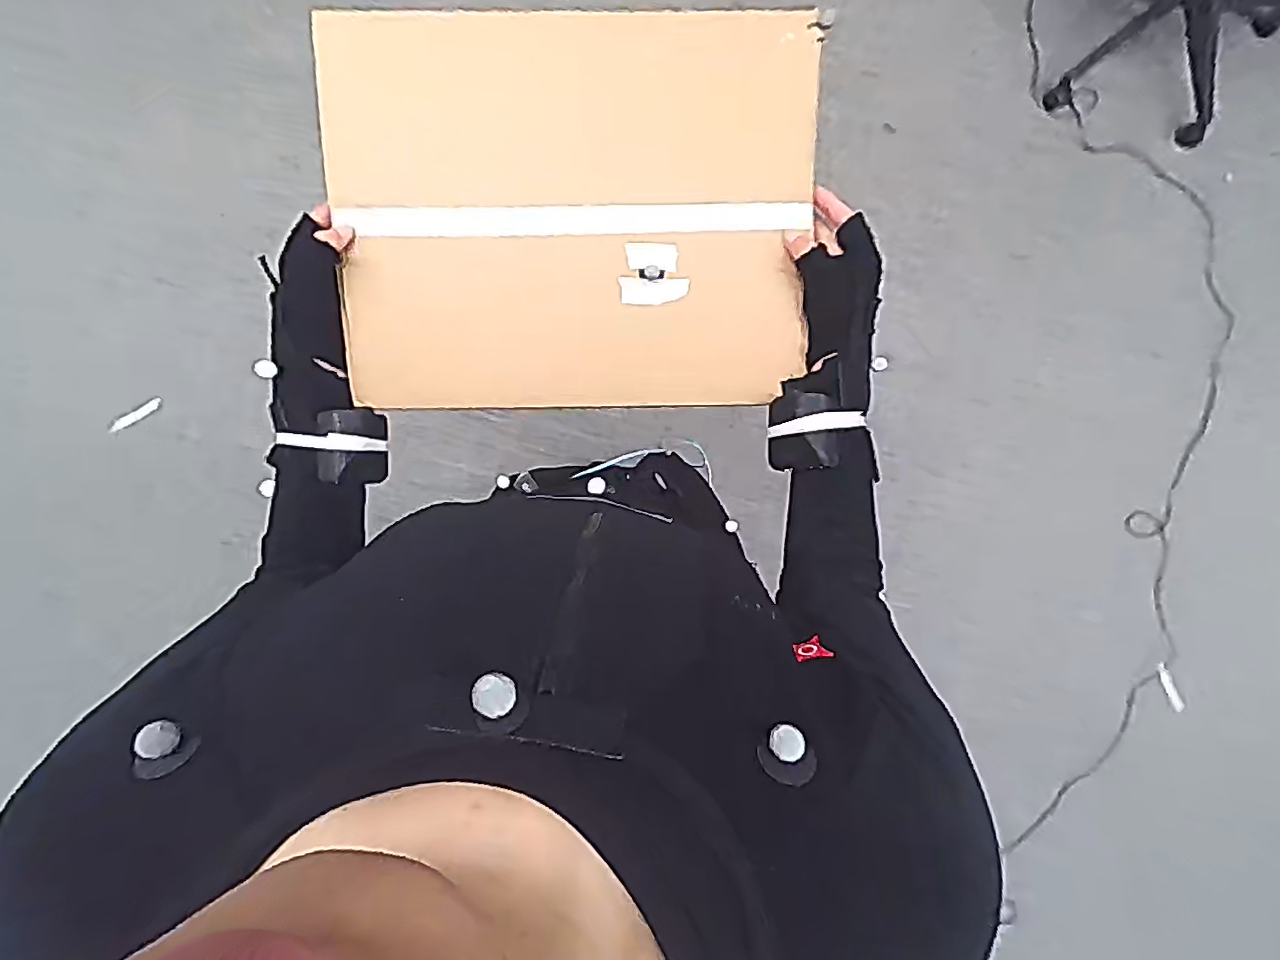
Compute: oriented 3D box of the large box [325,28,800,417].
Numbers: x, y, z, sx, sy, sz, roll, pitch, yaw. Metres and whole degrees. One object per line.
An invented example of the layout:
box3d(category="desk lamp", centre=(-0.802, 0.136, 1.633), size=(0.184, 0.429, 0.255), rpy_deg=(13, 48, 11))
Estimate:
box3d(category="large box", centre=(-0.063, -0.245, 0.621), size=(0.408, 0.320, 0.320), rpy_deg=(-2, 101, -1))
